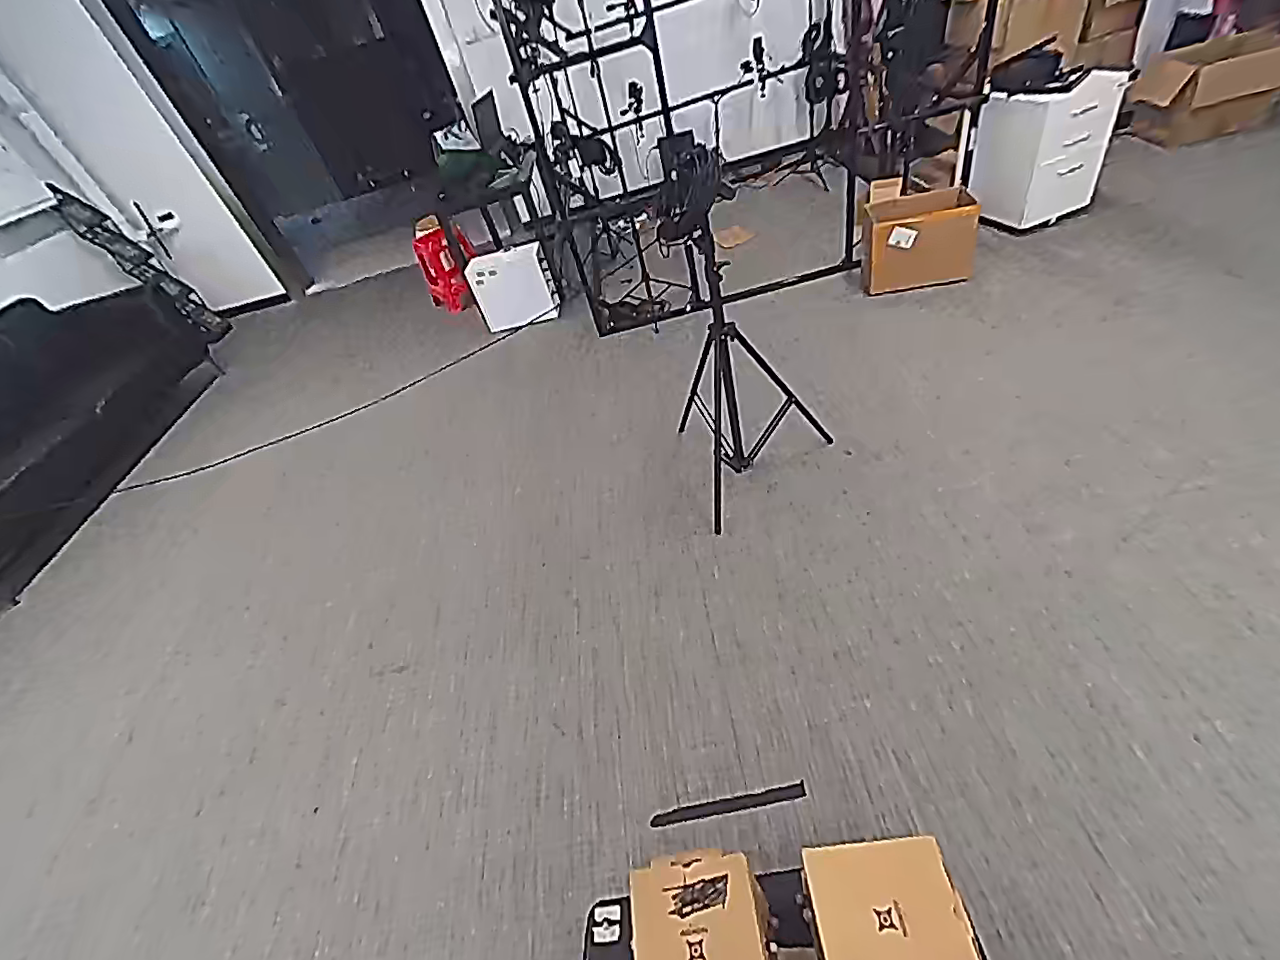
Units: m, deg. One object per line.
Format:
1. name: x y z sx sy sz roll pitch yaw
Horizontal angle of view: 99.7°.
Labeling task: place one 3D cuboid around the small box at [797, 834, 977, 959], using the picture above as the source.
1. small box: 0.319 0.594 0.715 0.179 0.176 0.168 -11 42 7

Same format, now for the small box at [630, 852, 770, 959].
1. small box: 0.087 0.643 0.740 0.168 0.176 0.179 -13 42 6

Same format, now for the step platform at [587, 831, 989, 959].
1. step platform: 0.246 0.857 0.966 0.684 0.204 0.286 -14 41 5
